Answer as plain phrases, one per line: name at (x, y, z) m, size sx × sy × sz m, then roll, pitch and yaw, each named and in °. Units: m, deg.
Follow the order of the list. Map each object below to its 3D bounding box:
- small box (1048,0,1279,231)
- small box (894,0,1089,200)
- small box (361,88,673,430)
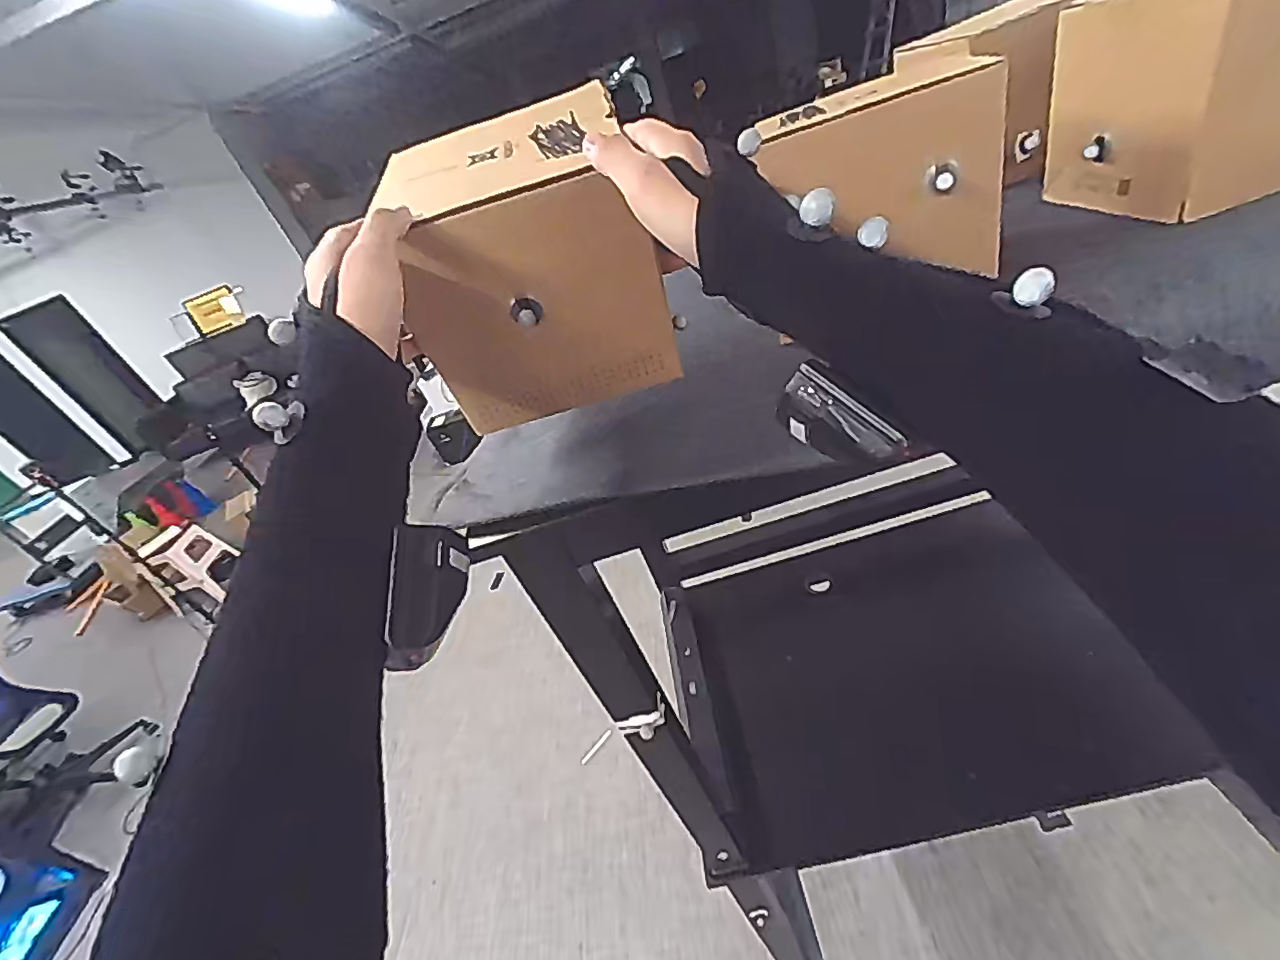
small box at (0.492, -0.339, 0.460) m, size 0.179 × 0.176 × 0.168 m, roll -19°, pitch 34°, yaw 7°
small box at (0.437, -0.468, 0.670) m, size 0.168 × 0.176 × 0.179 m, roll -19°, pitch 34°, yaw 7°
small box at (-0.078, -0.168, 0.428) m, size 0.179 × 0.176 × 0.168 m, roll -16°, pitch 48°, yaw 4°
